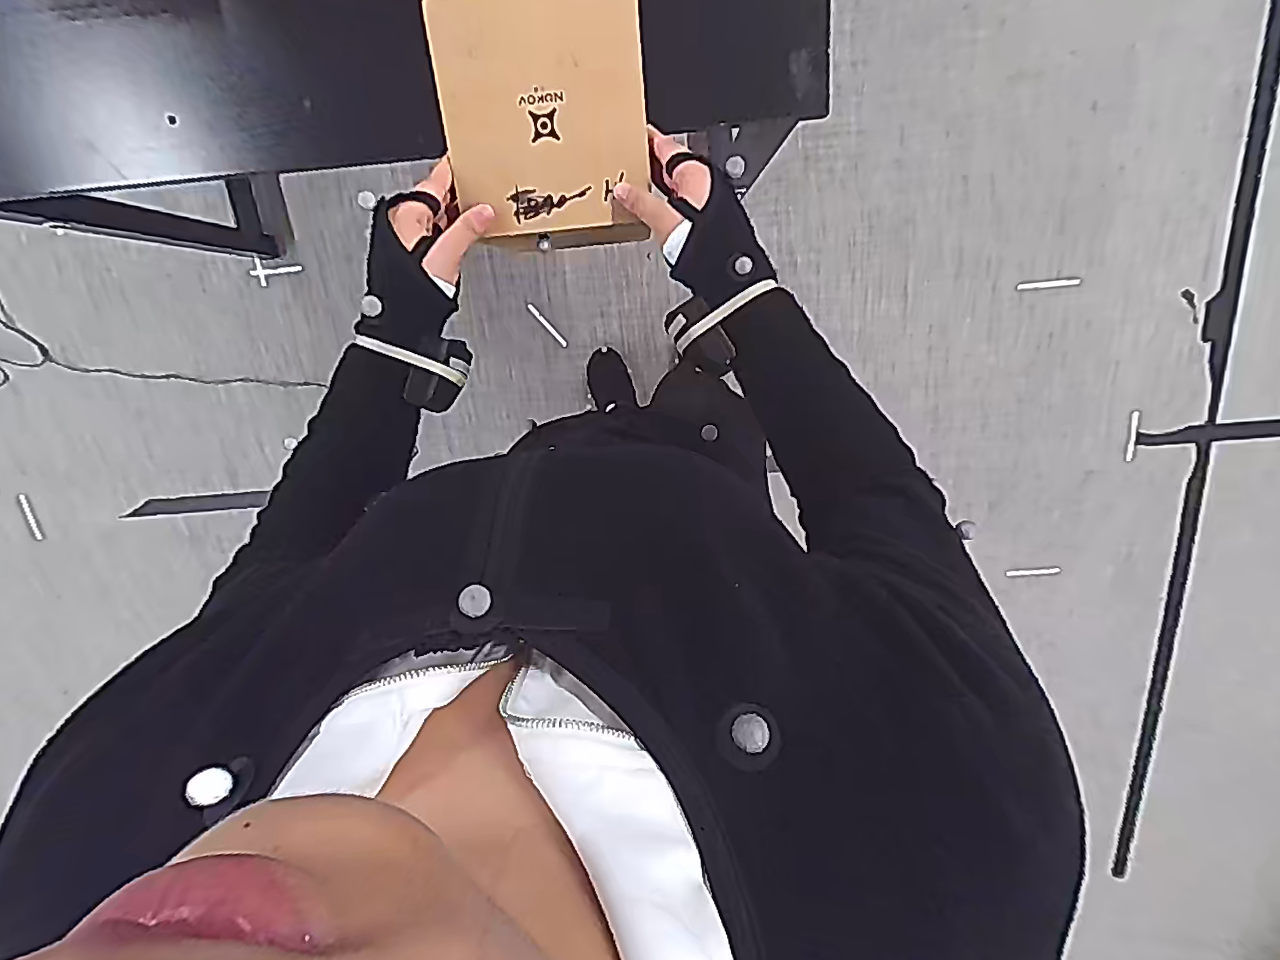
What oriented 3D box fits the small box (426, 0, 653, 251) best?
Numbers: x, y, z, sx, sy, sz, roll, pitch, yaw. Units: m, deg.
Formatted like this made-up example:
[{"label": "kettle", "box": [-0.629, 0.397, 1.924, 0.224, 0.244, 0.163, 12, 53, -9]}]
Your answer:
[{"label": "small box", "box": [-0.078, -0.324, 0.511, 0.168, 0.176, 0.179, -5, 109, 2]}]
